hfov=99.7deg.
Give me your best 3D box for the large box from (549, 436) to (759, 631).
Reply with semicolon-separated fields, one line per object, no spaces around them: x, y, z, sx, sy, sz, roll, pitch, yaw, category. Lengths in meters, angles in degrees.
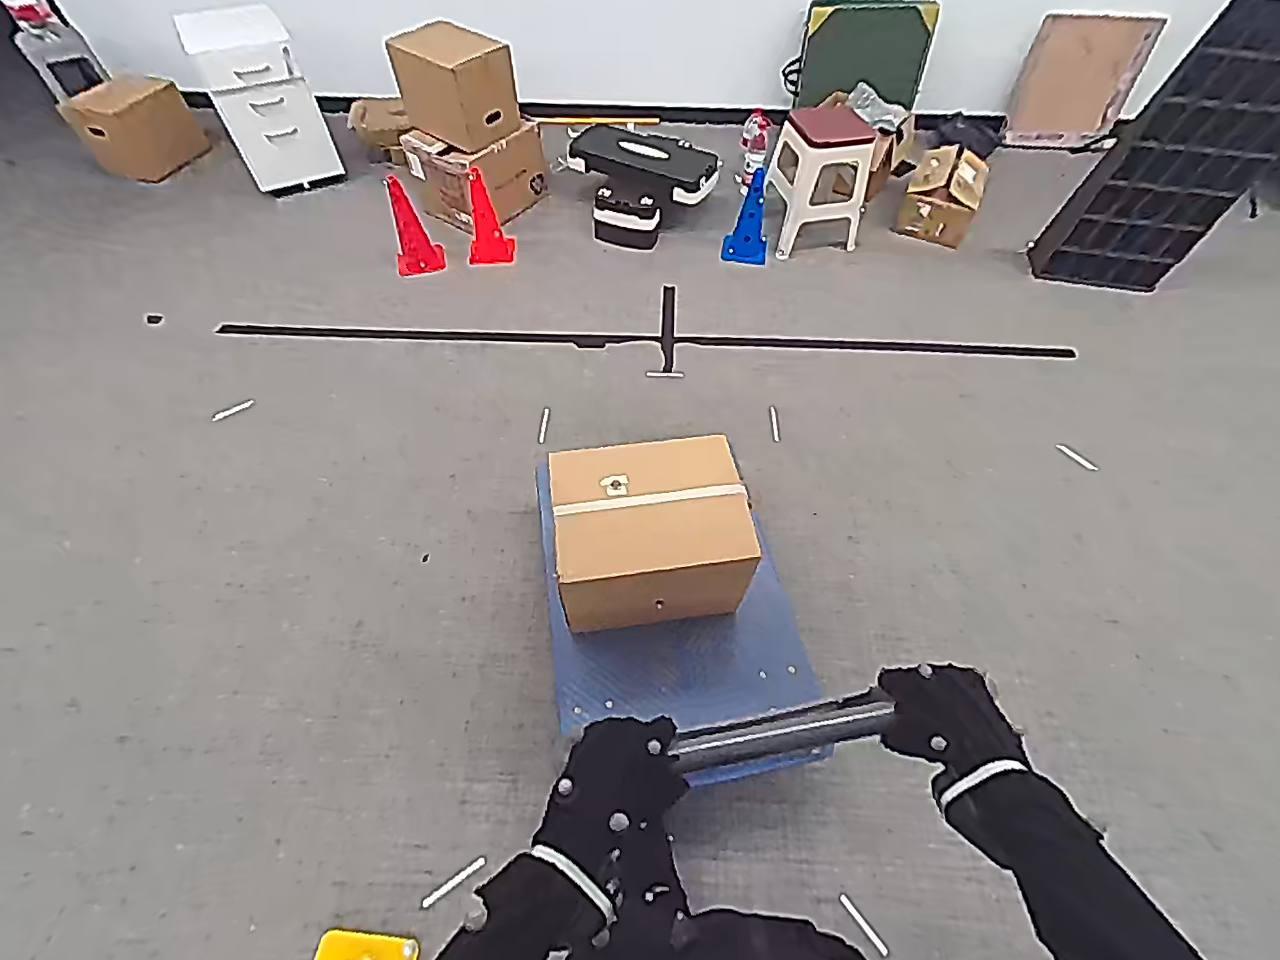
0.018;0.132;1.256;0.408;0.320;0.320;-7;57;-5;large box
